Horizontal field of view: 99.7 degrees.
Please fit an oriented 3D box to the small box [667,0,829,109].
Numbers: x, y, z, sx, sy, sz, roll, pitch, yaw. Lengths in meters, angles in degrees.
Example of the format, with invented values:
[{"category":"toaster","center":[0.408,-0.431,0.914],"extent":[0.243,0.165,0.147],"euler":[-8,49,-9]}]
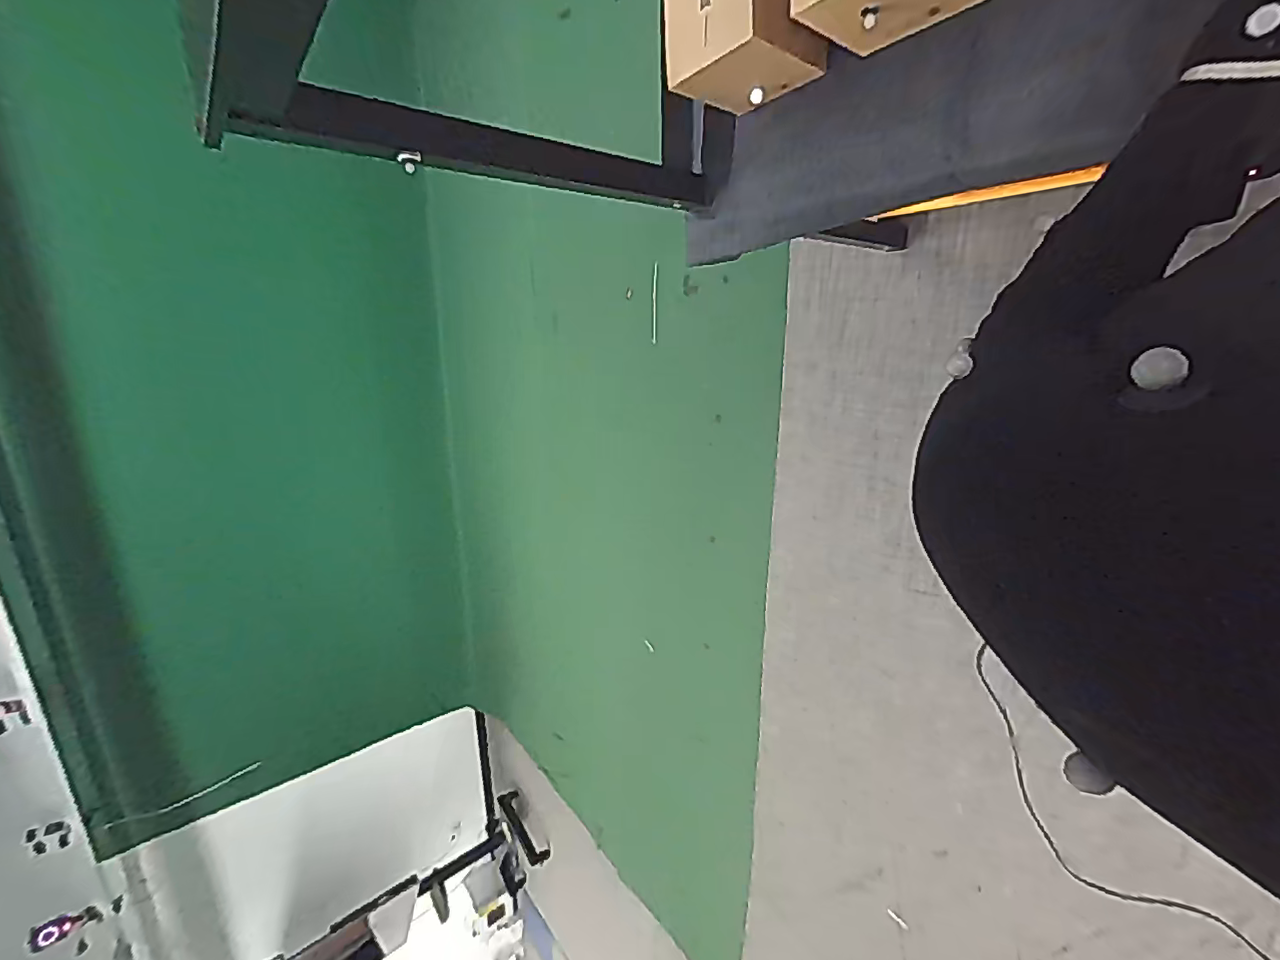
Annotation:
[{"category":"small box","center":[0.156,-0.676,0.778],"extent":[0.168,0.176,0.179],"euler":[13,111,51]}]
